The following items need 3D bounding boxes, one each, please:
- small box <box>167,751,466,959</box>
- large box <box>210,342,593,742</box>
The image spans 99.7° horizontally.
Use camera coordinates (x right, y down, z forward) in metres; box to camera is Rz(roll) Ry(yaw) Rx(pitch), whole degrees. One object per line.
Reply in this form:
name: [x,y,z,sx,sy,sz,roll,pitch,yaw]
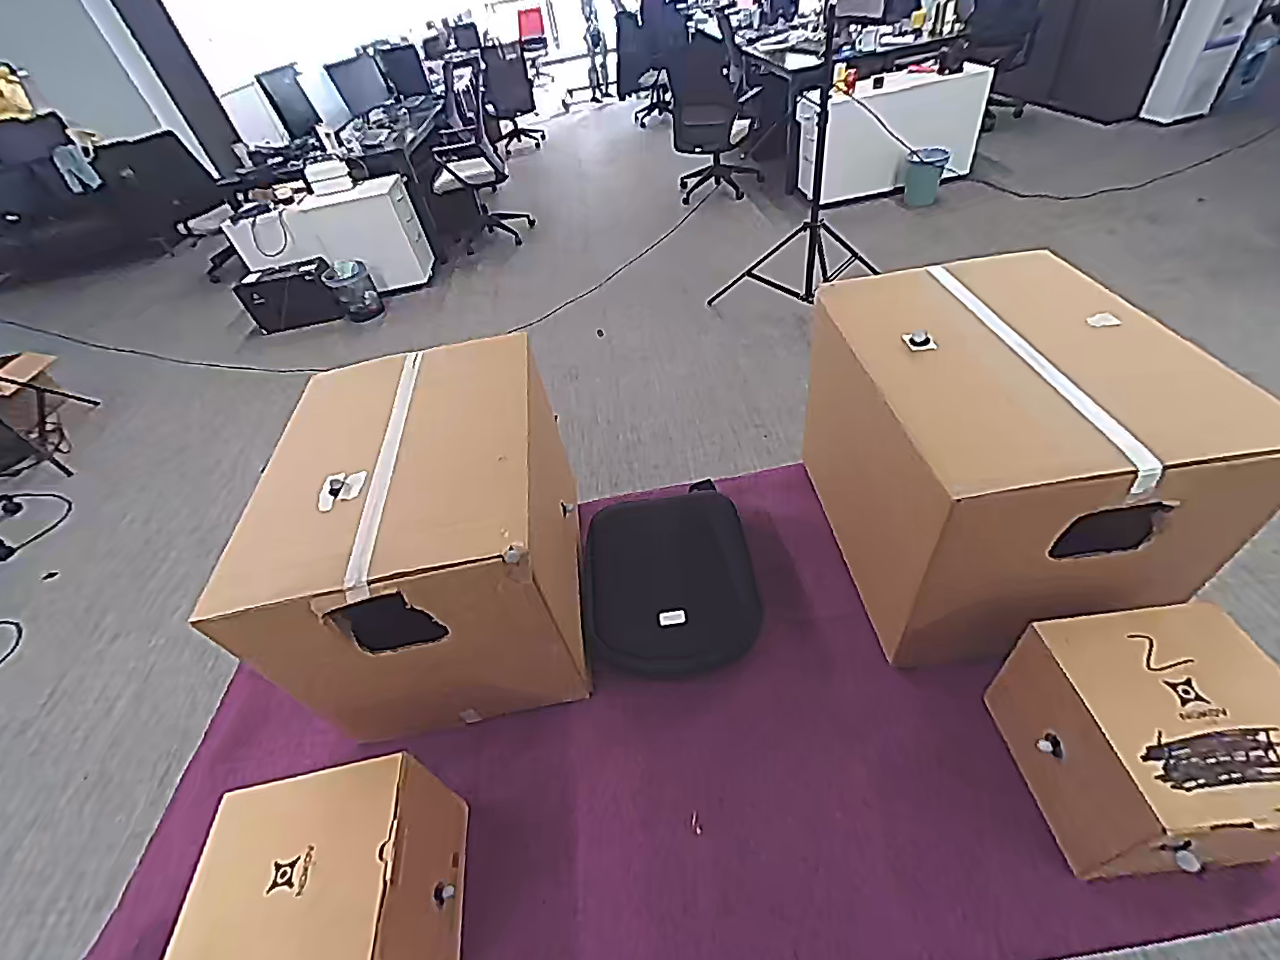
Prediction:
small box: [-0.285,0.391,0.513,0.179,0.176,0.168,-13,42,-3]
large box: [-0.259,0.073,0.736,0.320,0.320,0.408,-13,46,0]
